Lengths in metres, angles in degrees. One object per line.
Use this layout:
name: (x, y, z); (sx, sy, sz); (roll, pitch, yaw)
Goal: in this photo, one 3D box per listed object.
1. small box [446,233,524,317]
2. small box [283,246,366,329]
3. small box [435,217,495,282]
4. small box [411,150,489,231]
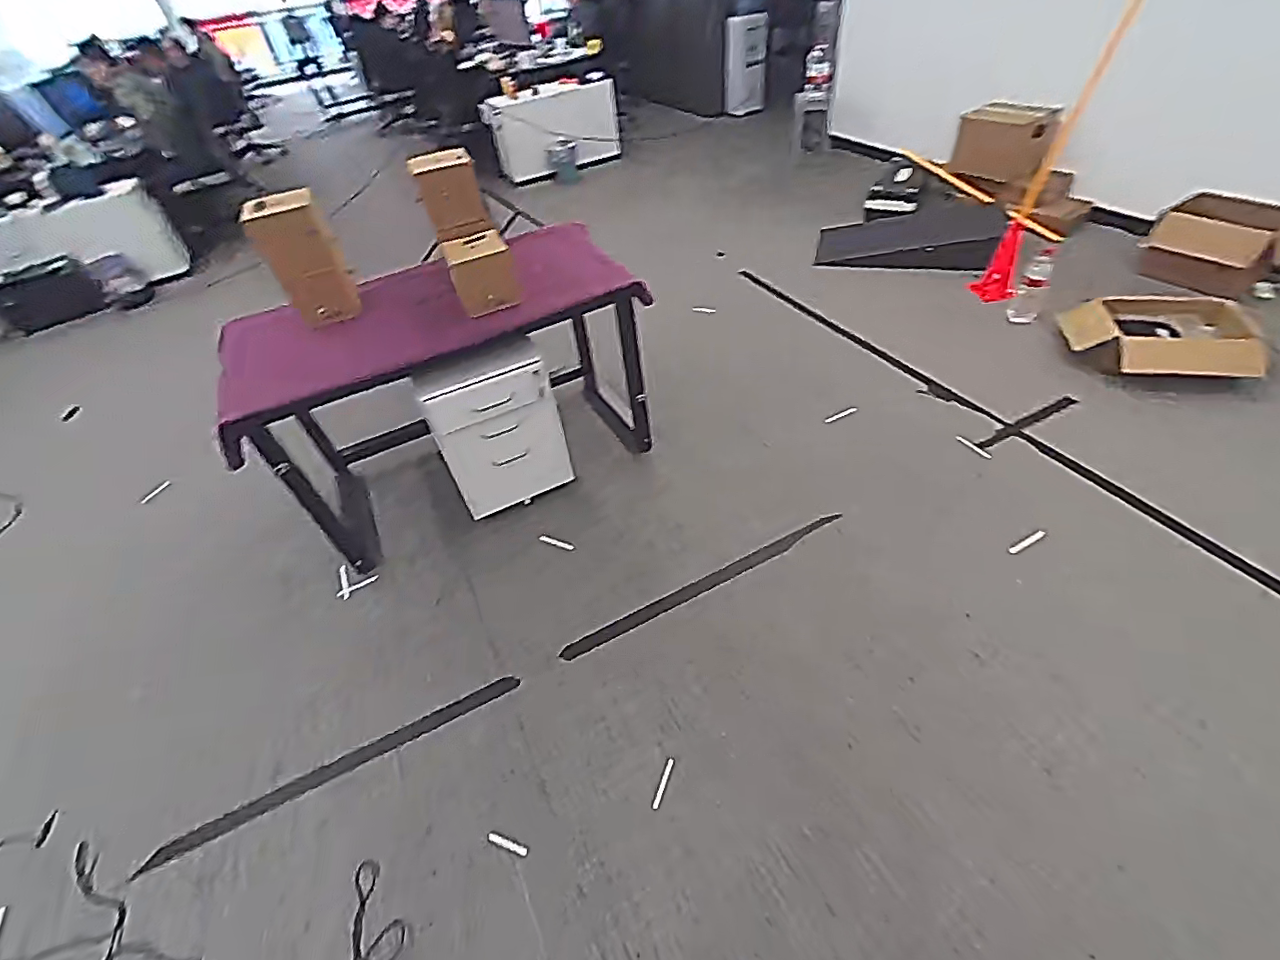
small box: (-0.465, -0.616, 1.629); (0.168, 0.176, 0.179); (-22, 46, -12)
small box: (-0.979, -0.601, 1.693); (0.168, 0.176, 0.179); (-20, 49, -10)
small box: (-0.576, -0.795, 1.820); (0.179, 0.176, 0.168); (-22, 47, -12)
small box: (-0.595, -0.908, 1.703); (0.179, 0.176, 0.168); (-21, 48, -10)
